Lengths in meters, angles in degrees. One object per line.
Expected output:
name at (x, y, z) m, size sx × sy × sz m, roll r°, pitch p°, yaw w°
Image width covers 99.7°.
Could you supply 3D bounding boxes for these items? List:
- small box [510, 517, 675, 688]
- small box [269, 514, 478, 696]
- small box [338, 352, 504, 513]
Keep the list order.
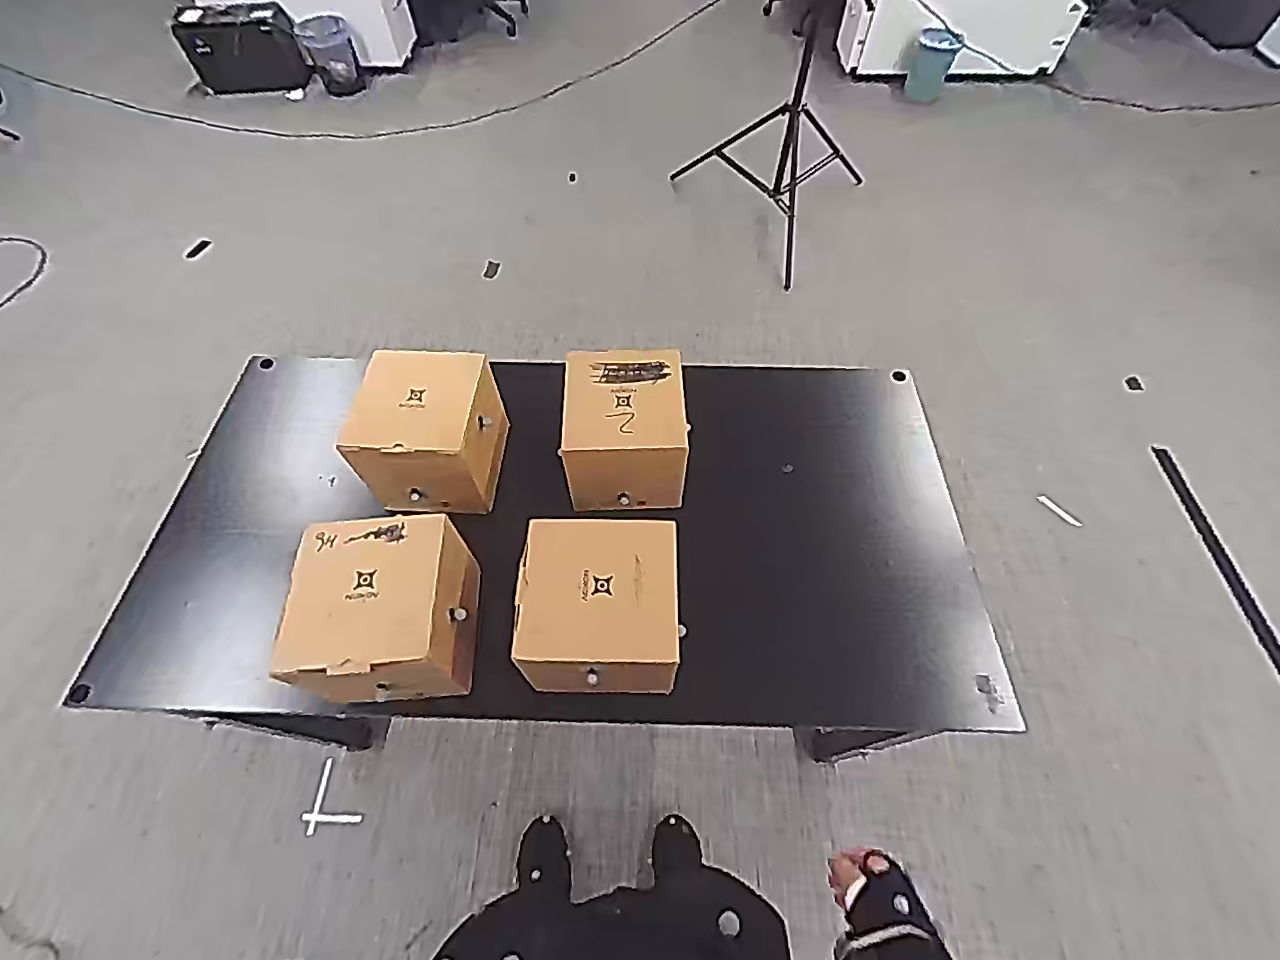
small box at (-0.048, 0.157, 0.671) m, size 0.179 × 0.176 × 0.168 m, roll 0°, pitch 59°, yaw 0°
small box at (-0.306, 0.161, 0.667) m, size 0.168 × 0.176 × 0.179 m, roll -4°, pitch 58°, yaw -2°
small box at (-0.310, -0.068, 0.811) m, size 0.168 × 0.176 × 0.179 m, roll 2°, pitch 59°, yaw 1°
